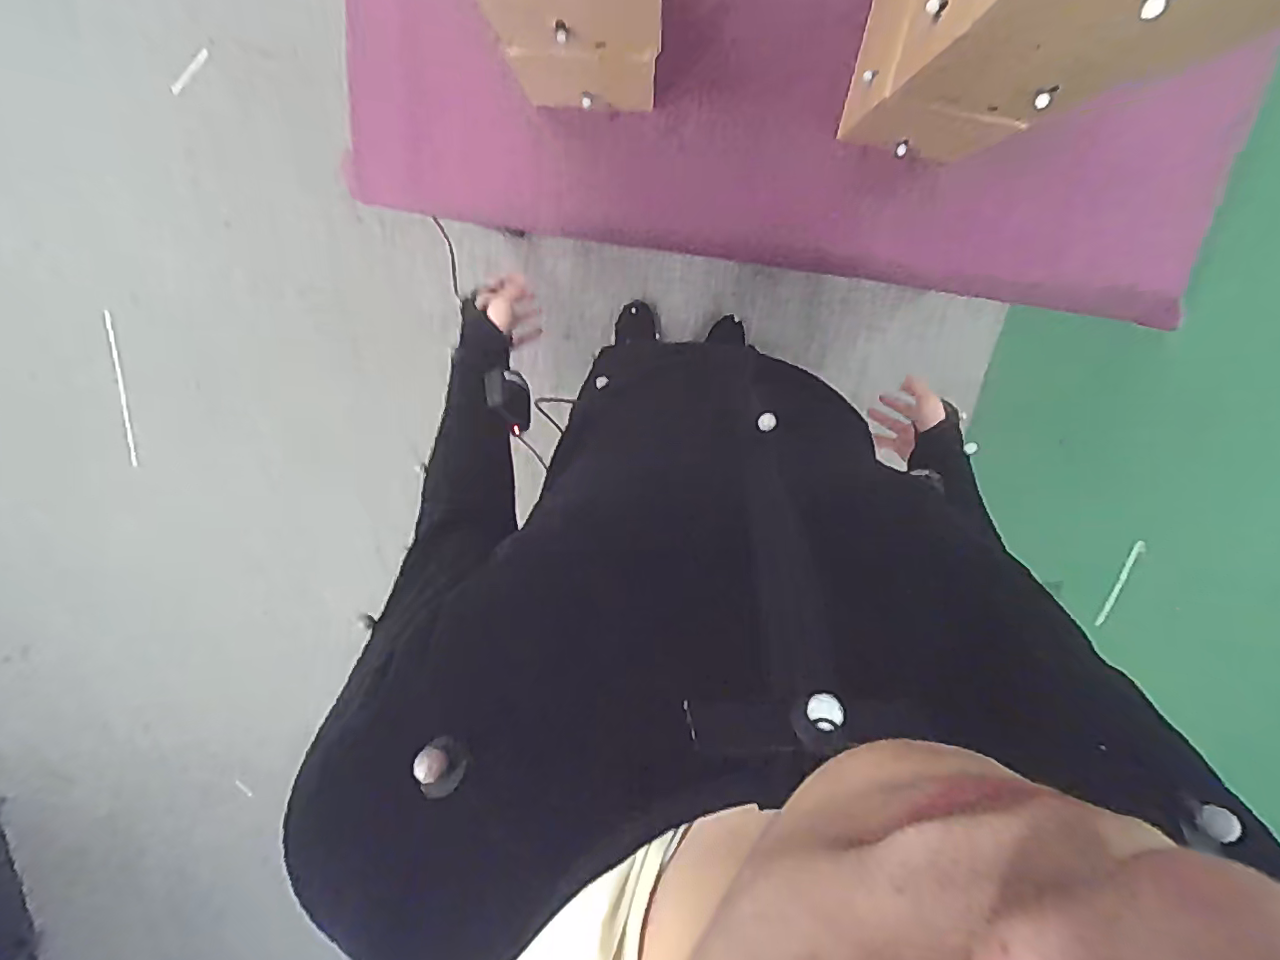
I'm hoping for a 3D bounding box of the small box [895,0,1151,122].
[{"bbox_3d":[0.358,-0.454,0.486,0.168,0.176,0.179,10,108,-2],"label":"small box"}]

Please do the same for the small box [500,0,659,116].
[{"bbox_3d":[-0.063,-0.563,0.637,0.168,0.176,0.179,4,108,1],"label":"small box"}]

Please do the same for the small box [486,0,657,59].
[{"bbox_3d":[-0.064,-0.516,0.481,0.168,0.176,0.179,1,108,1],"label":"small box"}]
